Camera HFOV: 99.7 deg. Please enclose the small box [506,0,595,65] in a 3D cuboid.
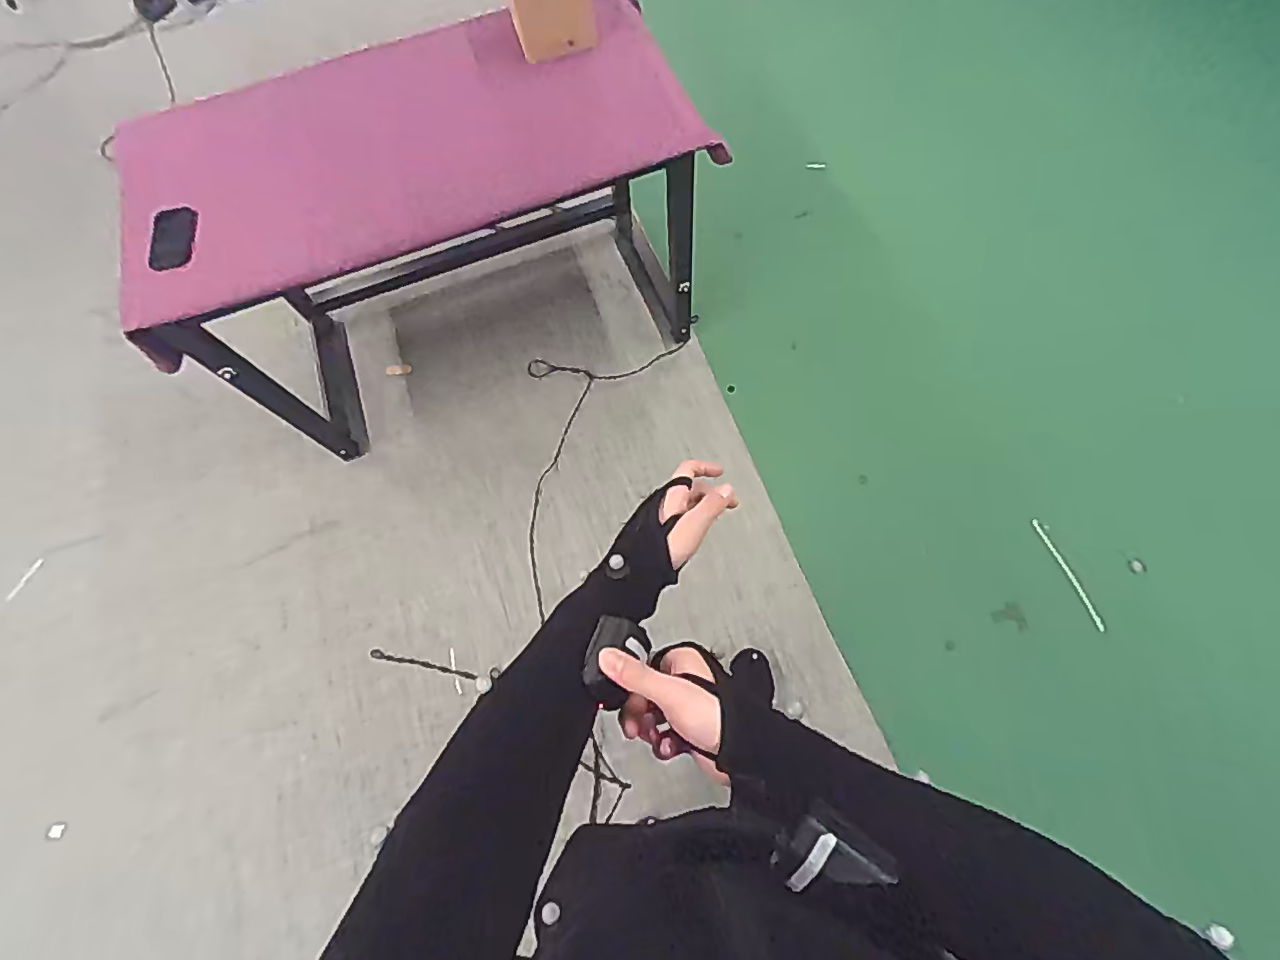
[{"bbox_3d":[-0.208,-1.062,1.184,0.168,0.176,0.179,-18,69,-2],"label":"small box"}]
